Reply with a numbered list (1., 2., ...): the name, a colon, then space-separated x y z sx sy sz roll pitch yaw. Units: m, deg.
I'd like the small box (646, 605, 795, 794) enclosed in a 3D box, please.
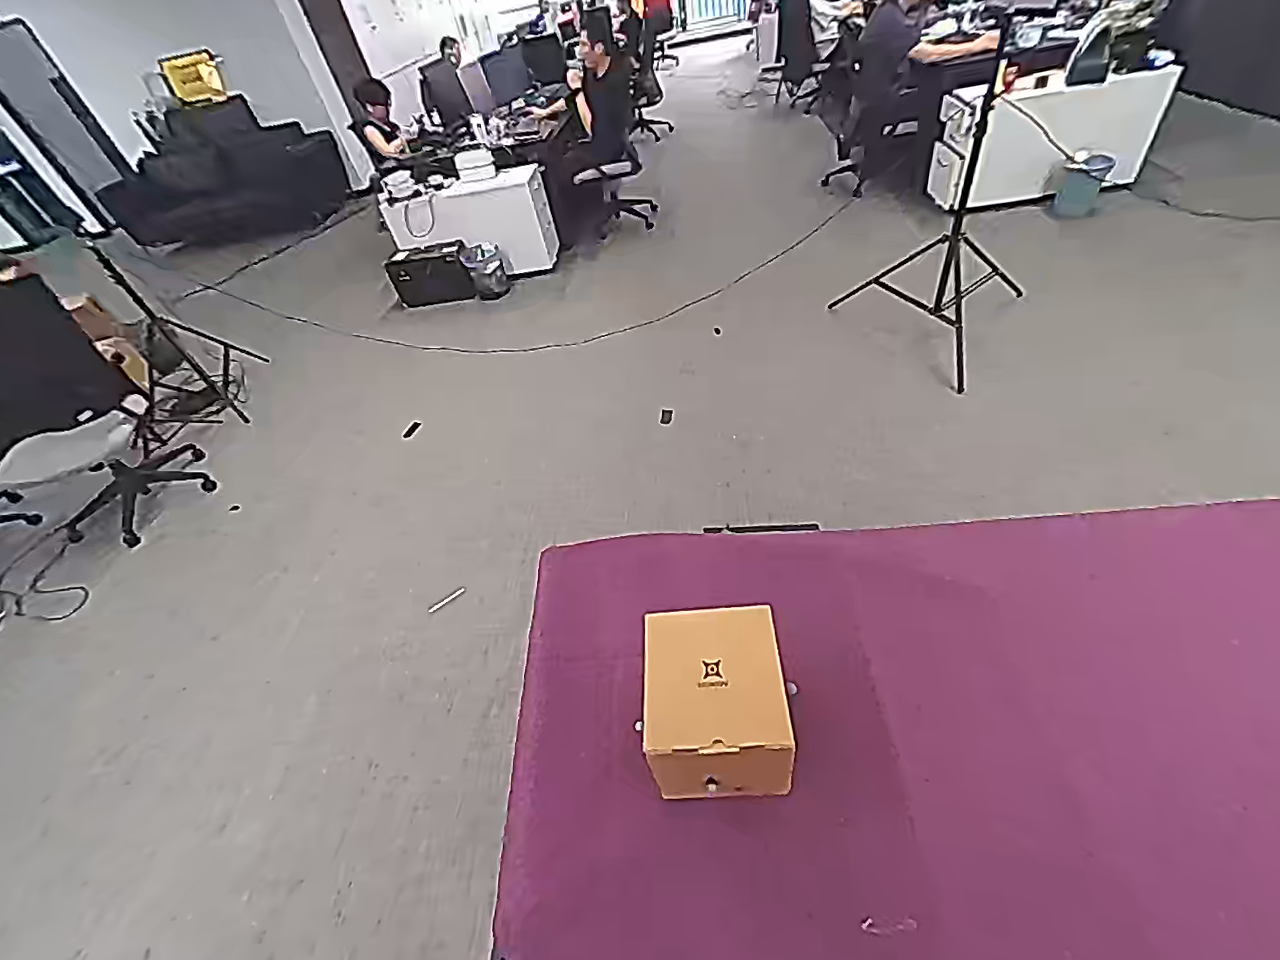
1. small box: 0.099 0.286 0.703 0.168 0.176 0.179 -6 45 6
